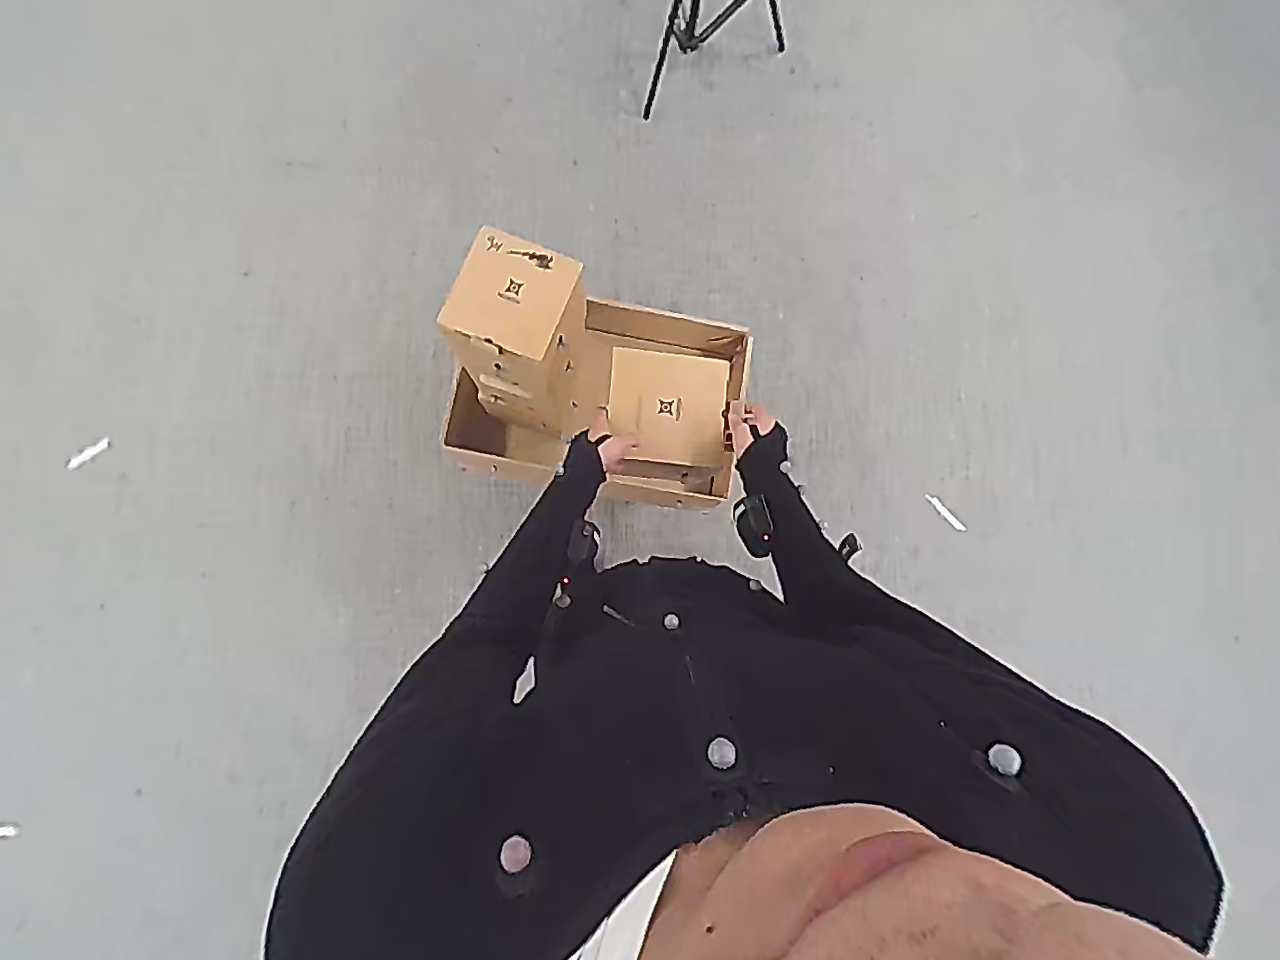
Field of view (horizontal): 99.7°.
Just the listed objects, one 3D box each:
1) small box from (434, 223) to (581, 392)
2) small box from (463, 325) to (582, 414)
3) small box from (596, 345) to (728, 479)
[{"bbox_3d":[-0.198,-0.265,0.874,0.168,0.176,0.179,22,80,-1],"label":"small box"},{"bbox_3d":[-0.213,-0.245,1.036,0.168,0.176,0.179,18,79,-2],"label":"small box"},{"bbox_3d":[0.028,-0.097,0.856,0.179,0.176,0.168,5,82,-6],"label":"small box"}]
